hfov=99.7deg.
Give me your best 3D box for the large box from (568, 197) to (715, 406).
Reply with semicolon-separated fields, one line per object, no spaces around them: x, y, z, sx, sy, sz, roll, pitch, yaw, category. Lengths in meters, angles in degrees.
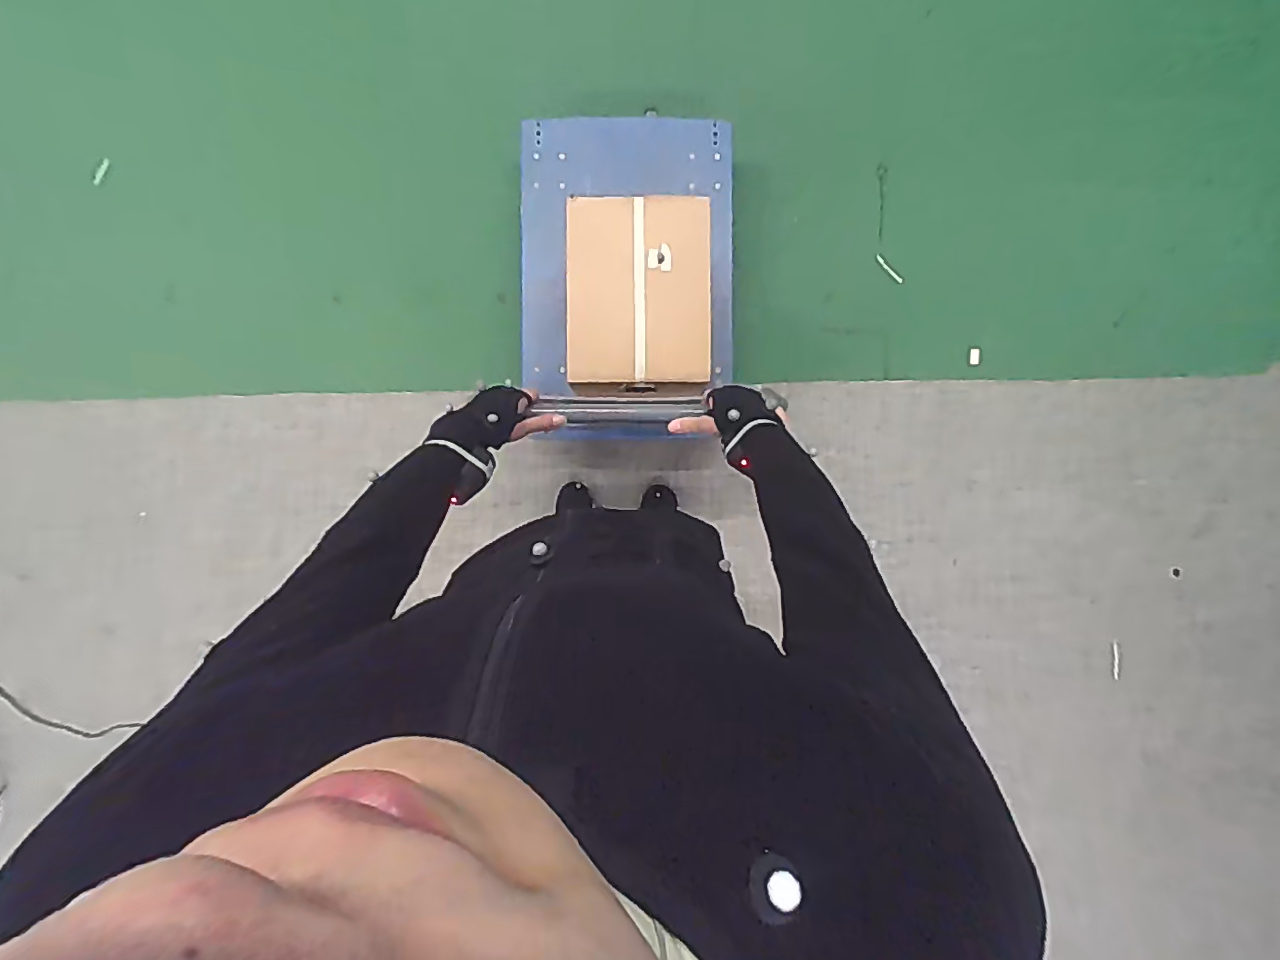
0.002;-0.402;1.302;0.320;0.320;0.408;0;89;-1;large box
